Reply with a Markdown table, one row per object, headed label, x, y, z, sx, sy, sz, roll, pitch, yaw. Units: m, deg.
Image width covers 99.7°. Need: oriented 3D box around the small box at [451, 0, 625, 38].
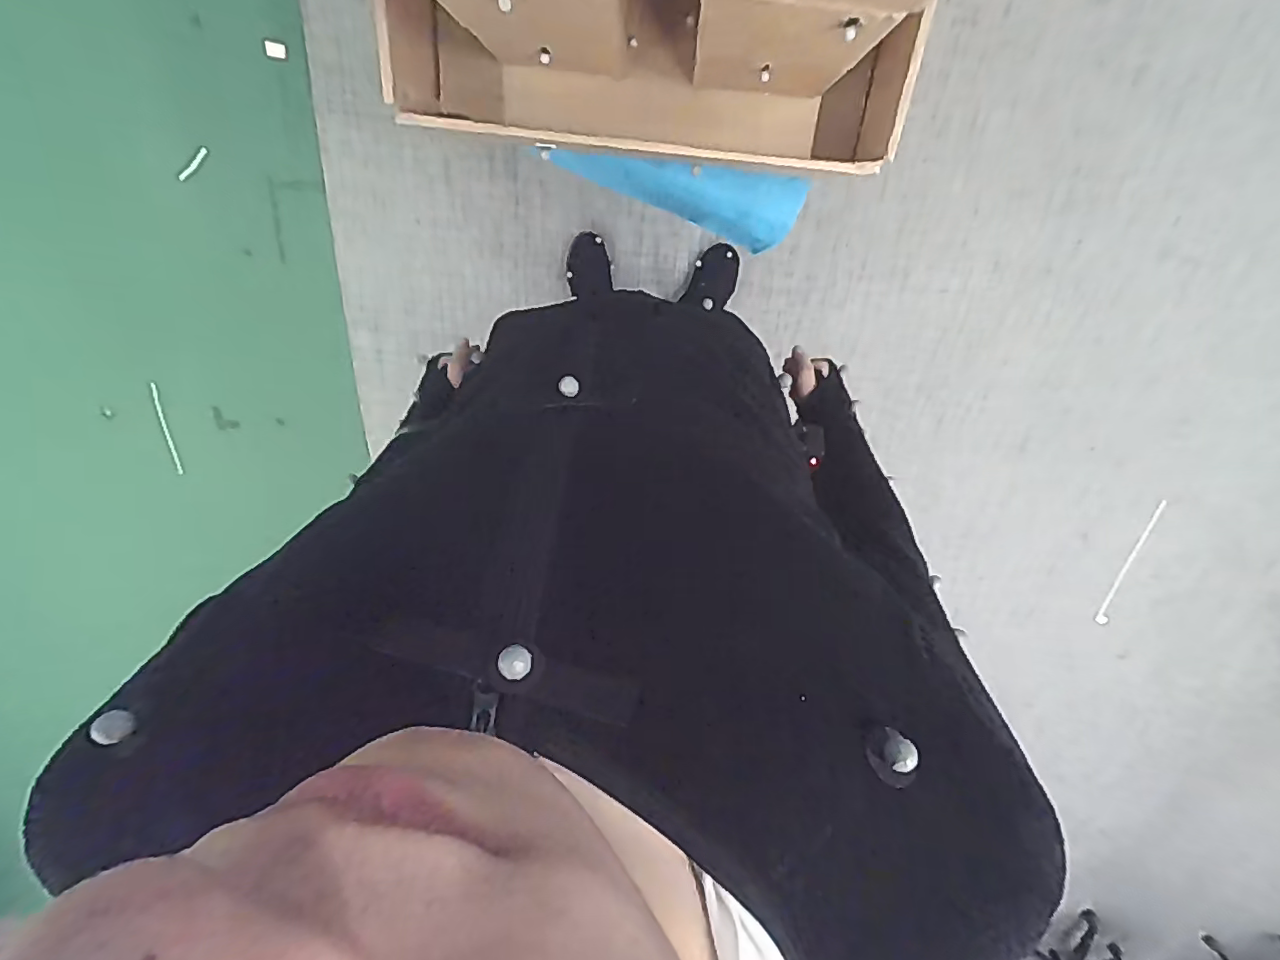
| label | x | y | z | sx | sy | sz | roll | pitch | yaw |
| --- | --- | --- | --- | --- | --- | --- | --- | --- | --- |
| small box | -0.100 | -0.522 | 0.477 | 0.179 | 0.176 | 0.168 | 5 | 116 | -2 |
